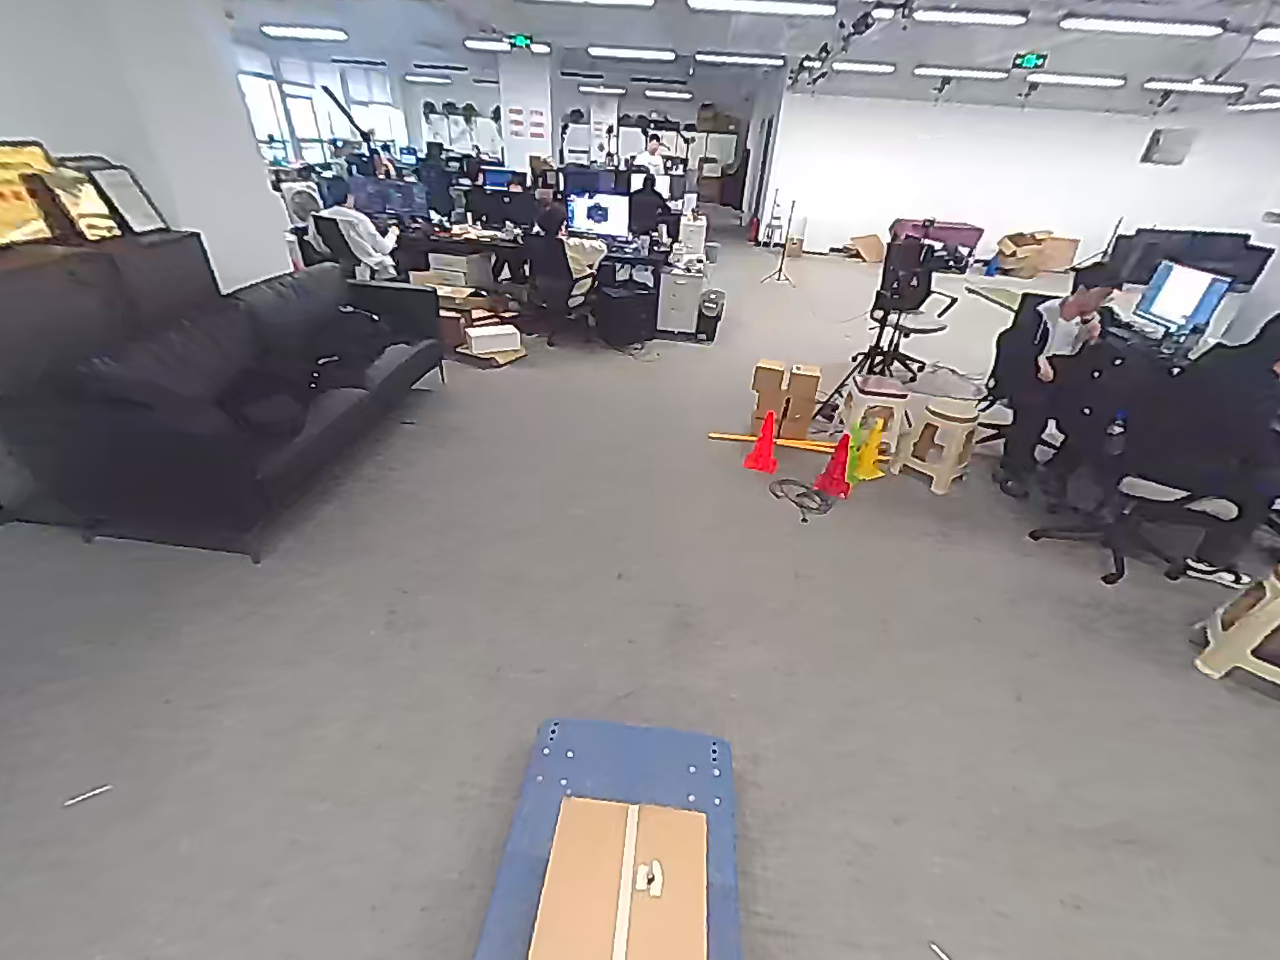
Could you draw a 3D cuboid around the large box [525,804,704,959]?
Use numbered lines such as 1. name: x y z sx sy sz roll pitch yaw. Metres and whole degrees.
1. large box: -0.046 0.939 1.066 0.320 0.320 0.408 6 31 2
